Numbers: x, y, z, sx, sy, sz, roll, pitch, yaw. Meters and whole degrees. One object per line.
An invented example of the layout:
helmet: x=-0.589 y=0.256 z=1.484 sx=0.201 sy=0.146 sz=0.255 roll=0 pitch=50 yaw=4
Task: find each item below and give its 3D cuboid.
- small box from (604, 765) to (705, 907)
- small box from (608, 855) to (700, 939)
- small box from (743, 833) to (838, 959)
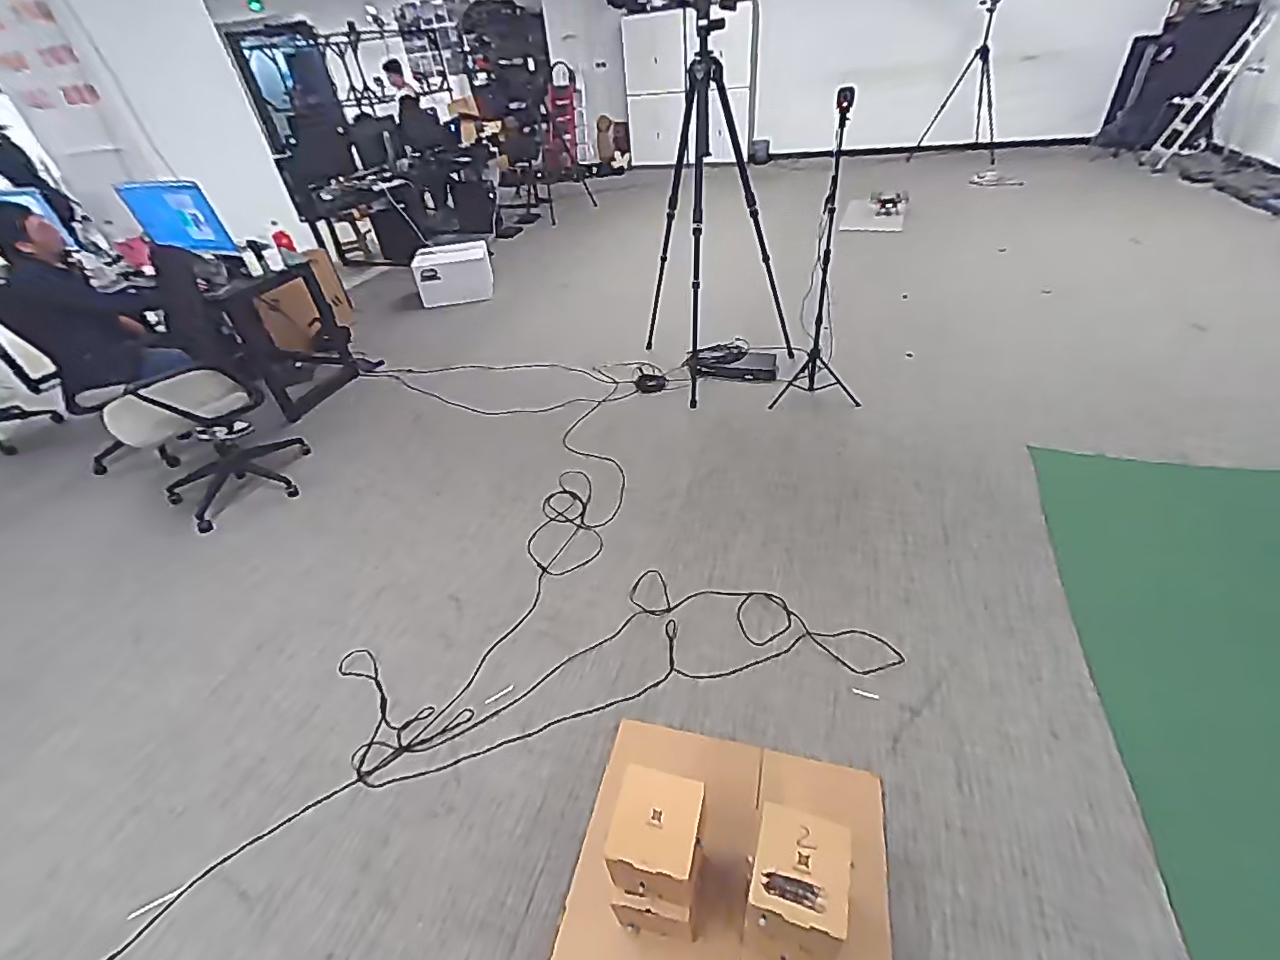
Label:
small box: x=0.037 y=0.726 z=1.107 sx=0.168 sy=0.176 sz=0.179 roll=6 pitch=40 yaw=15
small box: x=0.040 y=0.870 z=1.189 sx=0.168 sy=0.176 sz=0.179 roll=4 pitch=40 yaw=13
small box: x=0.312 y=0.888 z=1.130 sx=0.168 sy=0.176 sz=0.179 roll=8 pitch=41 yaw=19
